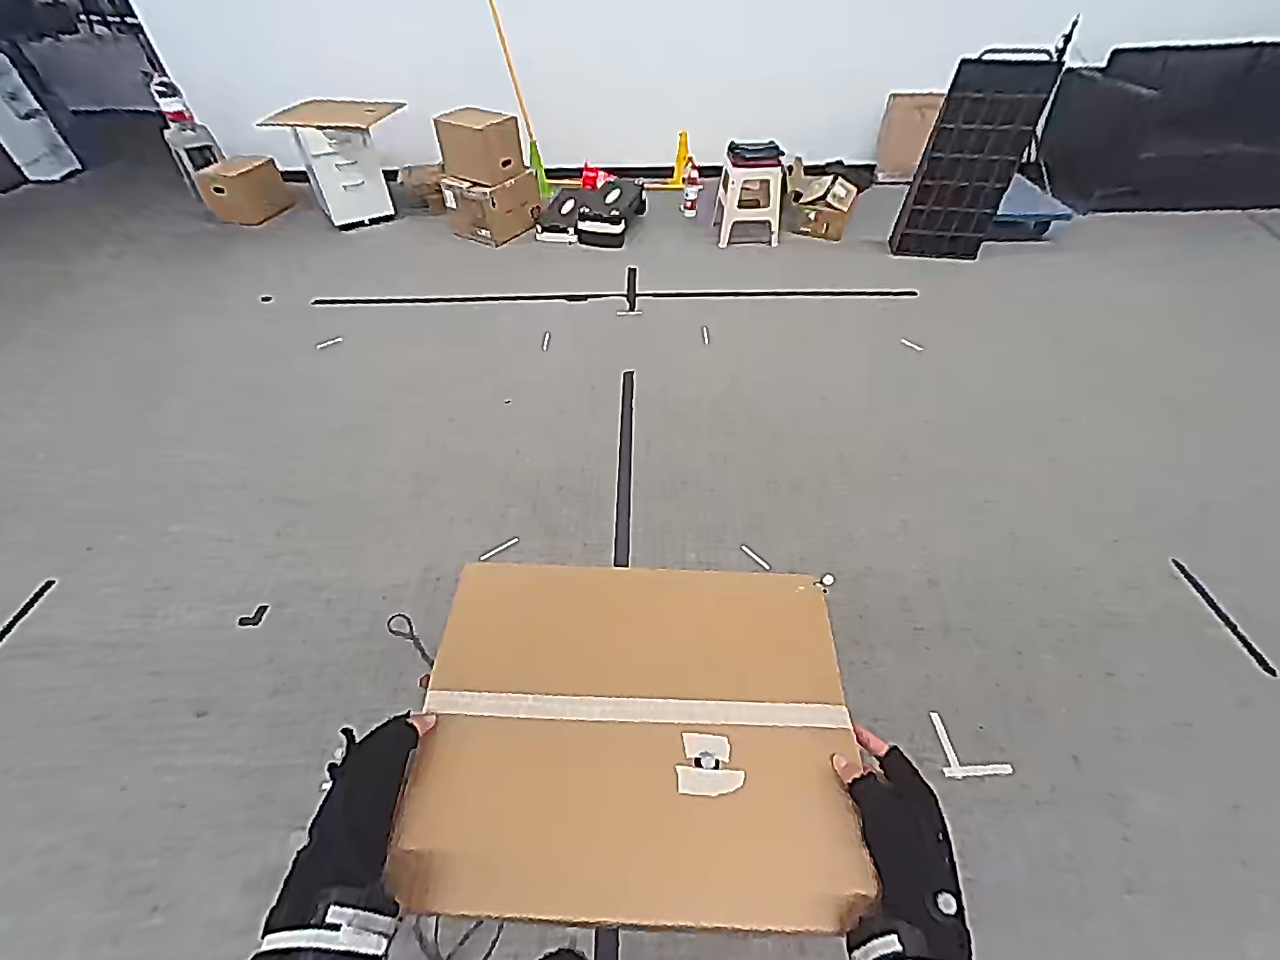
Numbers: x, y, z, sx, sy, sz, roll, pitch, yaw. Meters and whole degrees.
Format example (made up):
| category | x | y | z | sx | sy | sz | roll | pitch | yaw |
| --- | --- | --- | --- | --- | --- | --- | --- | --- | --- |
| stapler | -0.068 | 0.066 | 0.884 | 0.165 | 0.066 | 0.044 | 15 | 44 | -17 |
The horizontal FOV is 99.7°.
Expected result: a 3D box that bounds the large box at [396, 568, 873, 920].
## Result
| category | x | y | z | sx | sy | sz | roll | pitch | yaw |
| --- | --- | --- | --- | --- | --- | --- | --- | --- | --- |
| large box | -0.005 | 0.322 | 0.650 | 0.408 | 0.320 | 0.320 | 2 | 51 | 1 |
